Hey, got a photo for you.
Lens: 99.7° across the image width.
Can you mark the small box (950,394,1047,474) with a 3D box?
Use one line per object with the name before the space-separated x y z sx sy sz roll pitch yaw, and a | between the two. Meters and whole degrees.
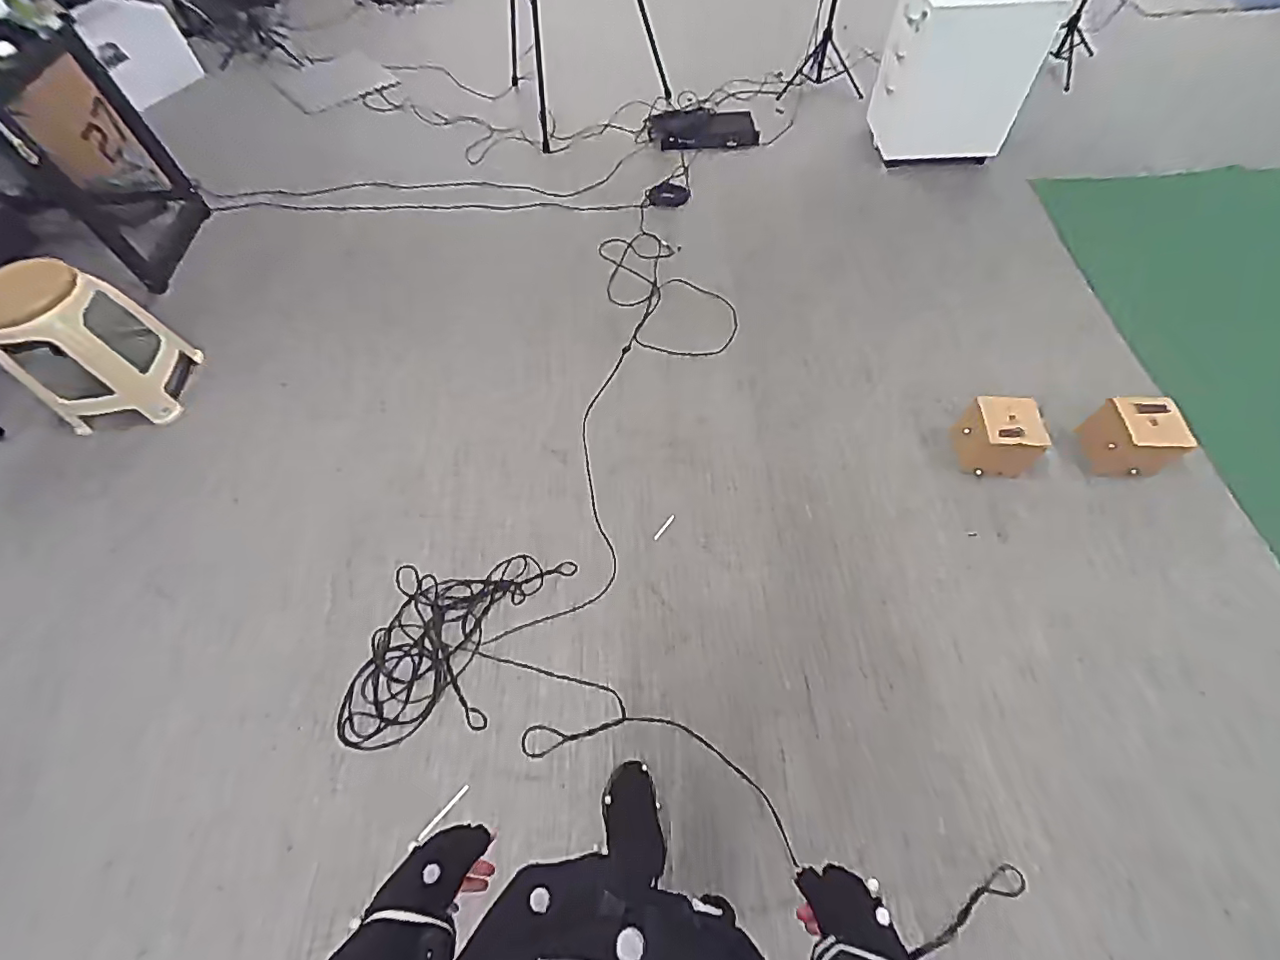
small box | 1.059 -0.133 1.614 0.168 0.176 0.179 4 58 4
